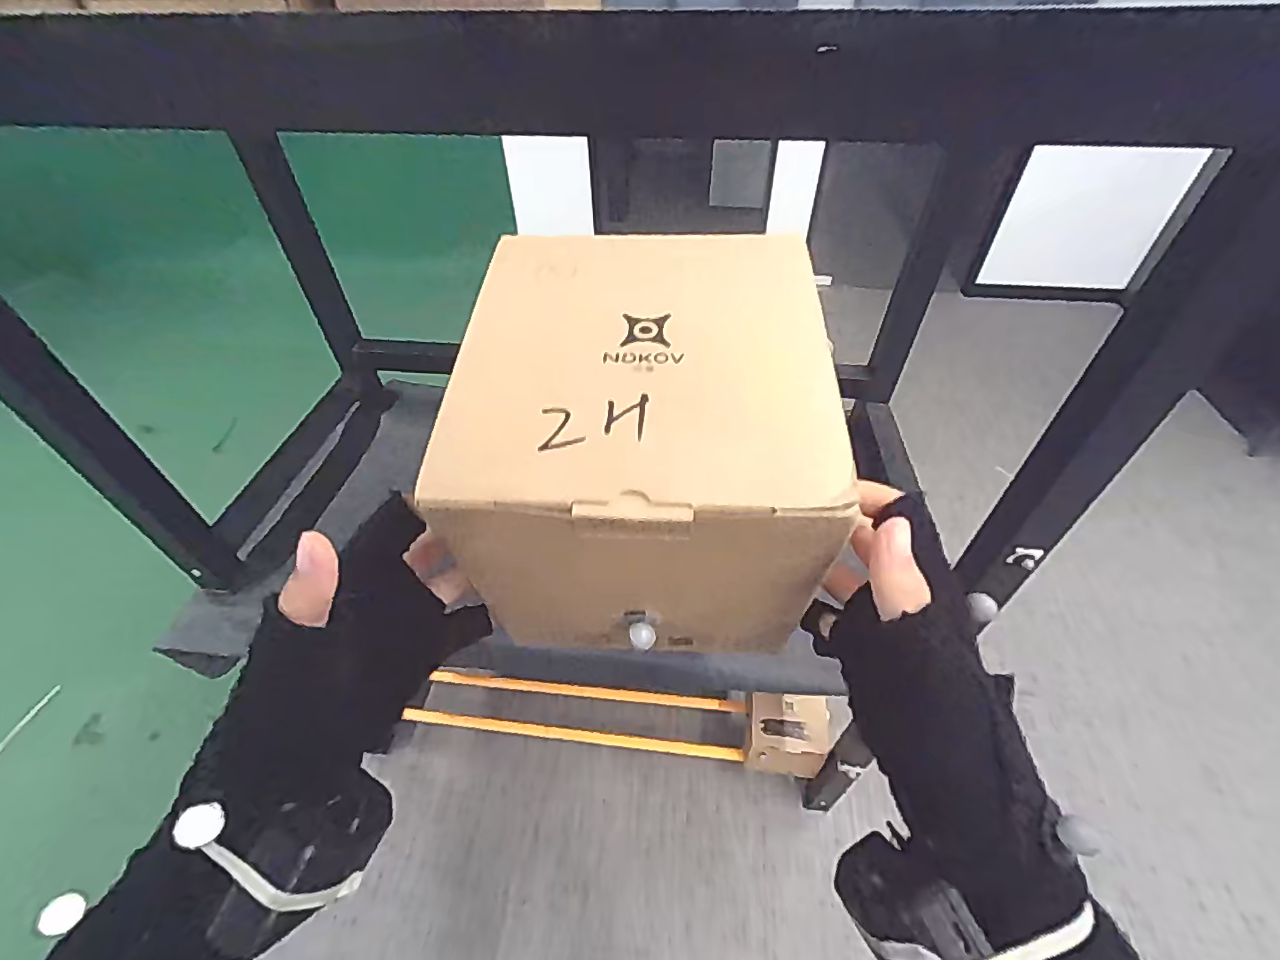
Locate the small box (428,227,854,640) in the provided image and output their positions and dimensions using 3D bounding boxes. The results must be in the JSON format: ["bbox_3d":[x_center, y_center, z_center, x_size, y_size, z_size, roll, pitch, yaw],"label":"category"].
[{"bbox_3d":[0.006,-0.023,0.316,0.168,0.176,0.179,1,55,4],"label":"small box"}]
